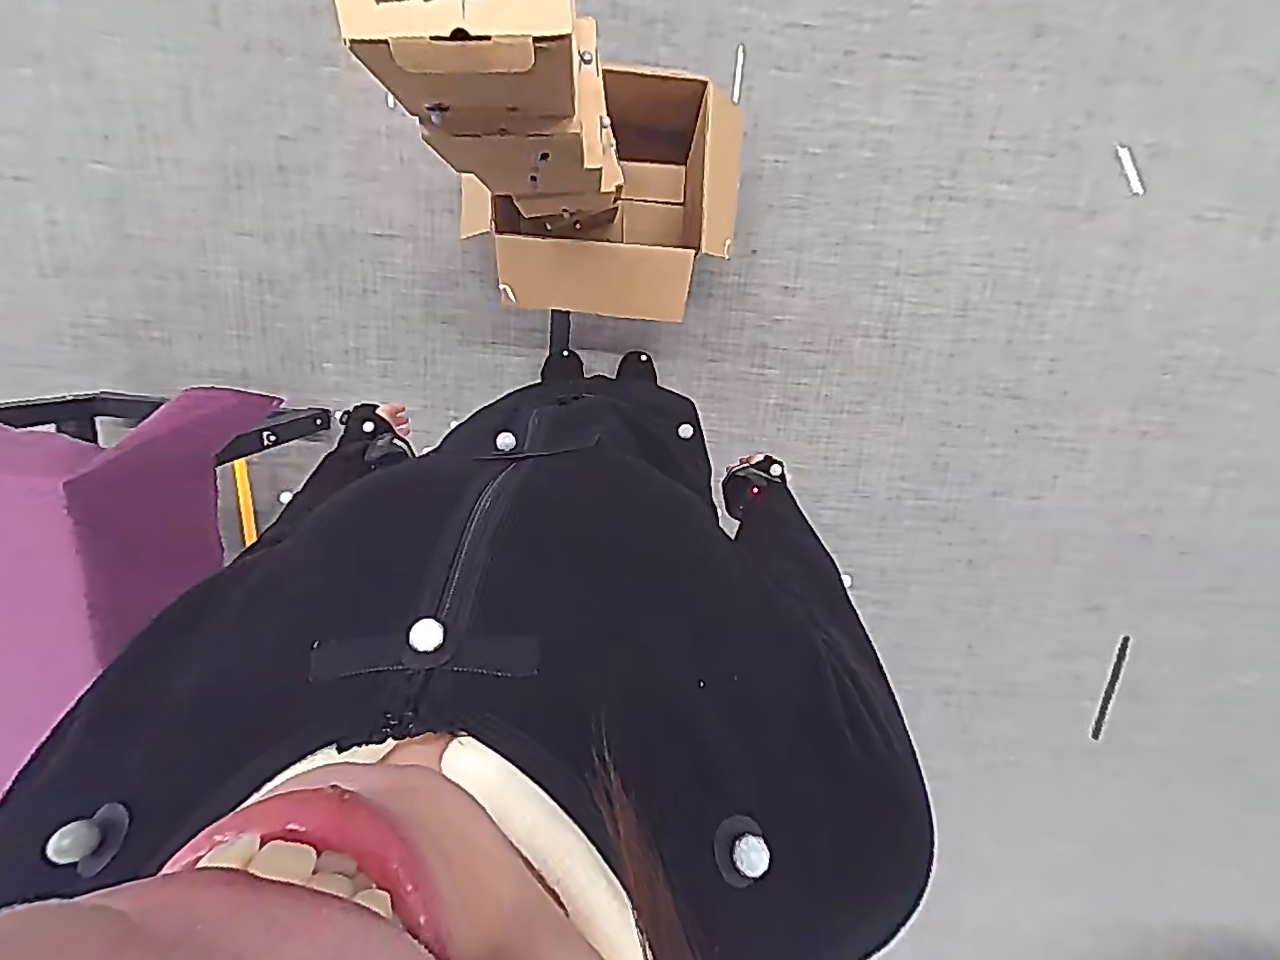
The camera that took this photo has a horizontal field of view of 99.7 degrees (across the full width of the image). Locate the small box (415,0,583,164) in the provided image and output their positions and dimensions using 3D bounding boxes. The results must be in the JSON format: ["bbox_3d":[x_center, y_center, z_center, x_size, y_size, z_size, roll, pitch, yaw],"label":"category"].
[{"bbox_3d":[-0.149,-0.462,0.596,0.168,0.176,0.179,-3,109,-5],"label":"small box"}]

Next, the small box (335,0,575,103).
[{"bbox_3d":[-0.141,-0.427,0.435,0.168,0.176,0.179,-4,109,-5],"label":"small box"}]

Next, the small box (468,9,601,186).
[{"bbox_3d":[-0.145,-0.515,0.751,0.179,0.176,0.168,-4,110,-4],"label":"small box"}]

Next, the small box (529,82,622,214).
[{"bbox_3d":[-0.142,-0.639,1.057,0.179,0.176,0.168,-17,109,0],"label":"small box"}]
